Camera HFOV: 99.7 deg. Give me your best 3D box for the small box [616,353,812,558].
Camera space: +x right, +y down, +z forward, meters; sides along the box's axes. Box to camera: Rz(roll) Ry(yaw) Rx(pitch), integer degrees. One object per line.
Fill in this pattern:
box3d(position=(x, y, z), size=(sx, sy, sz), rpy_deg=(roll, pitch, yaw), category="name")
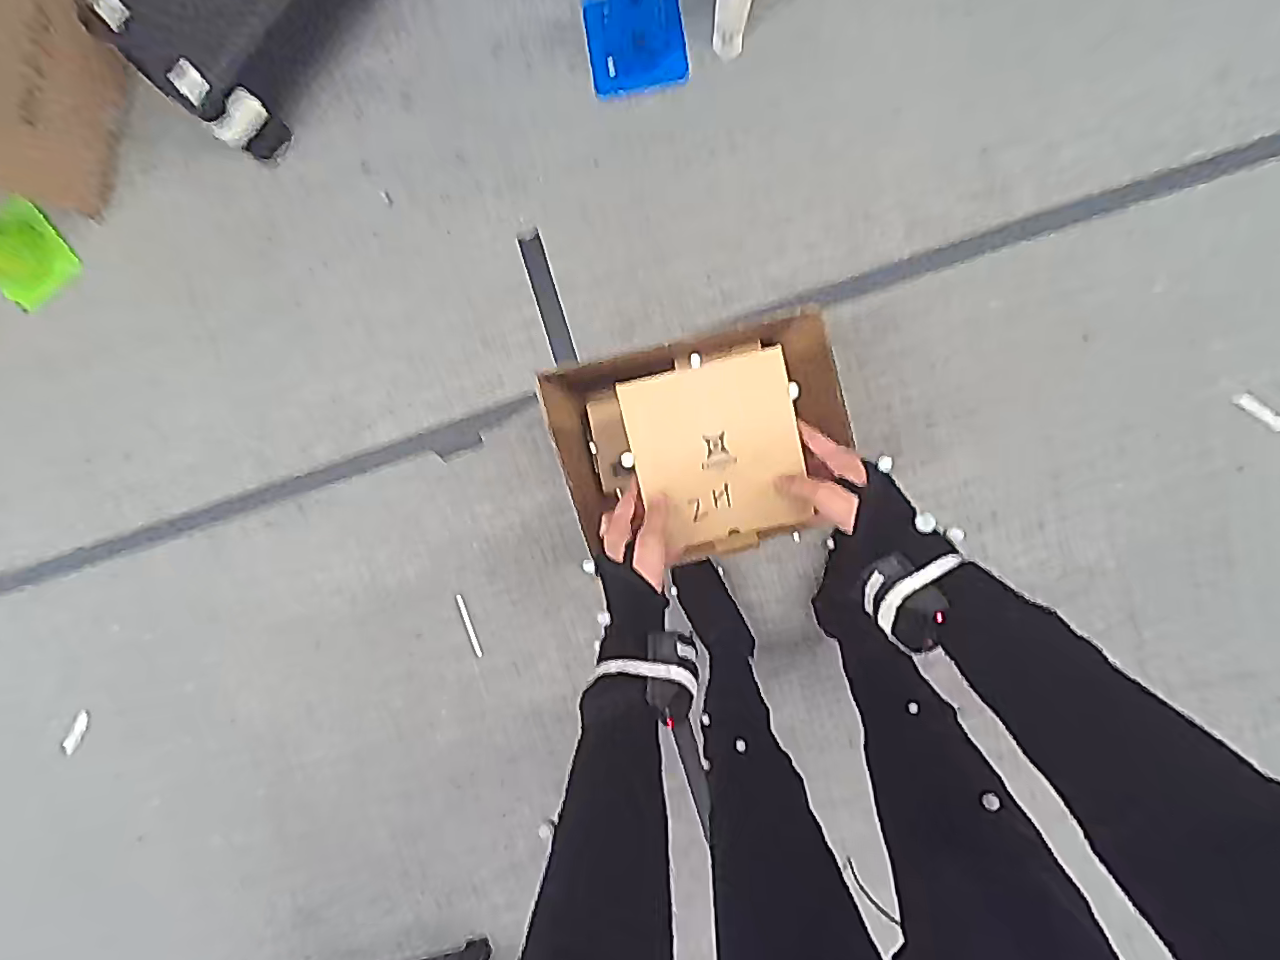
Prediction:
box3d(position=(0.076, -0.031, 0.608), size=(0.168, 0.176, 0.179), rpy_deg=(-13, 97, 5), category="small box")
